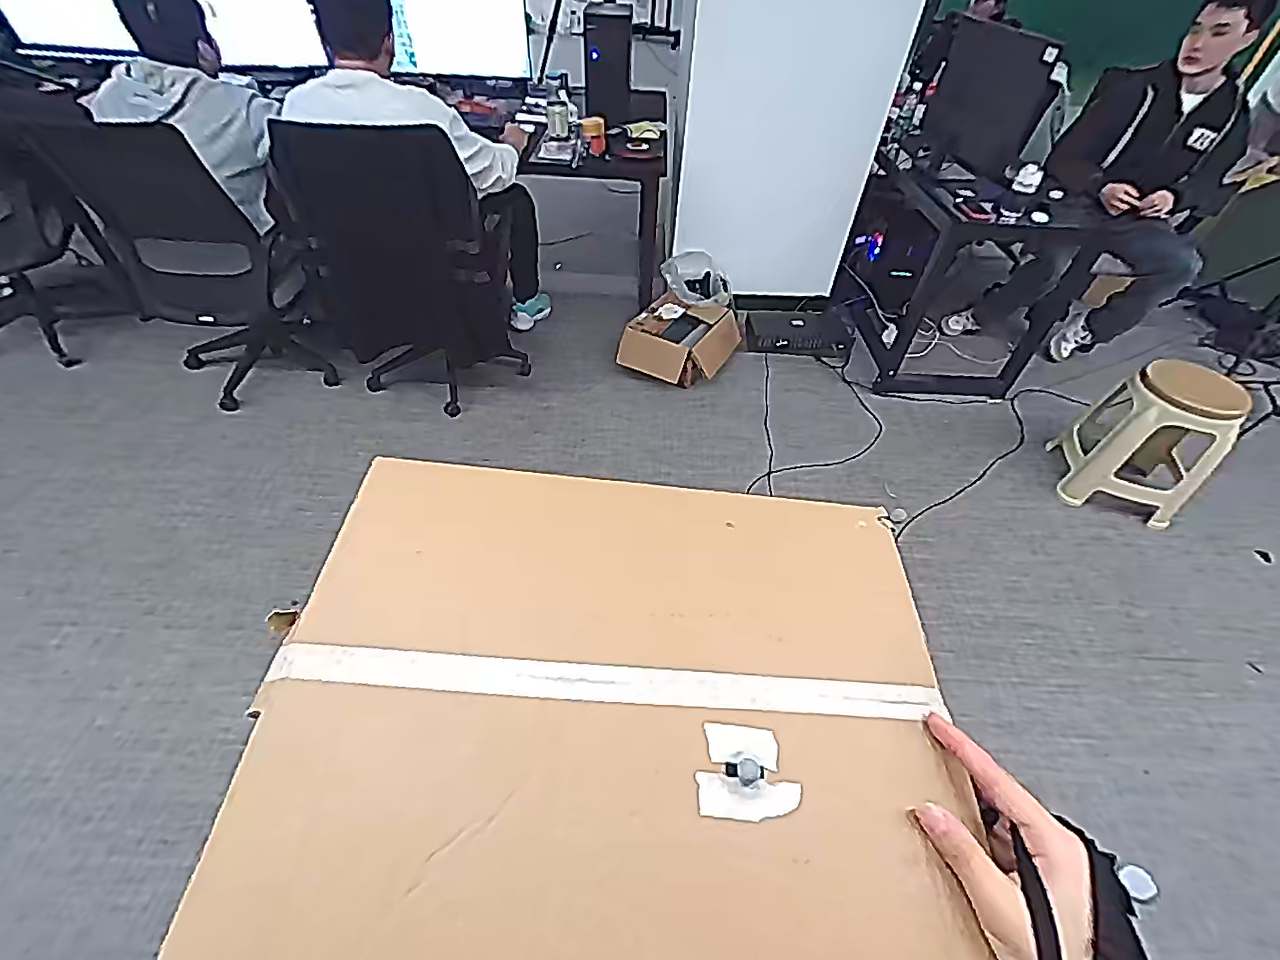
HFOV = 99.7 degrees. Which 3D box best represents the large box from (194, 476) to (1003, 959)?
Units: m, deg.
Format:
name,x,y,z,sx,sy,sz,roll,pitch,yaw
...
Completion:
name,x,y,z,sx,sy,sz,roll,pitch,yaw
large box,-0.024,0.225,0.457,0.408,0.320,0.320,6,53,-5
